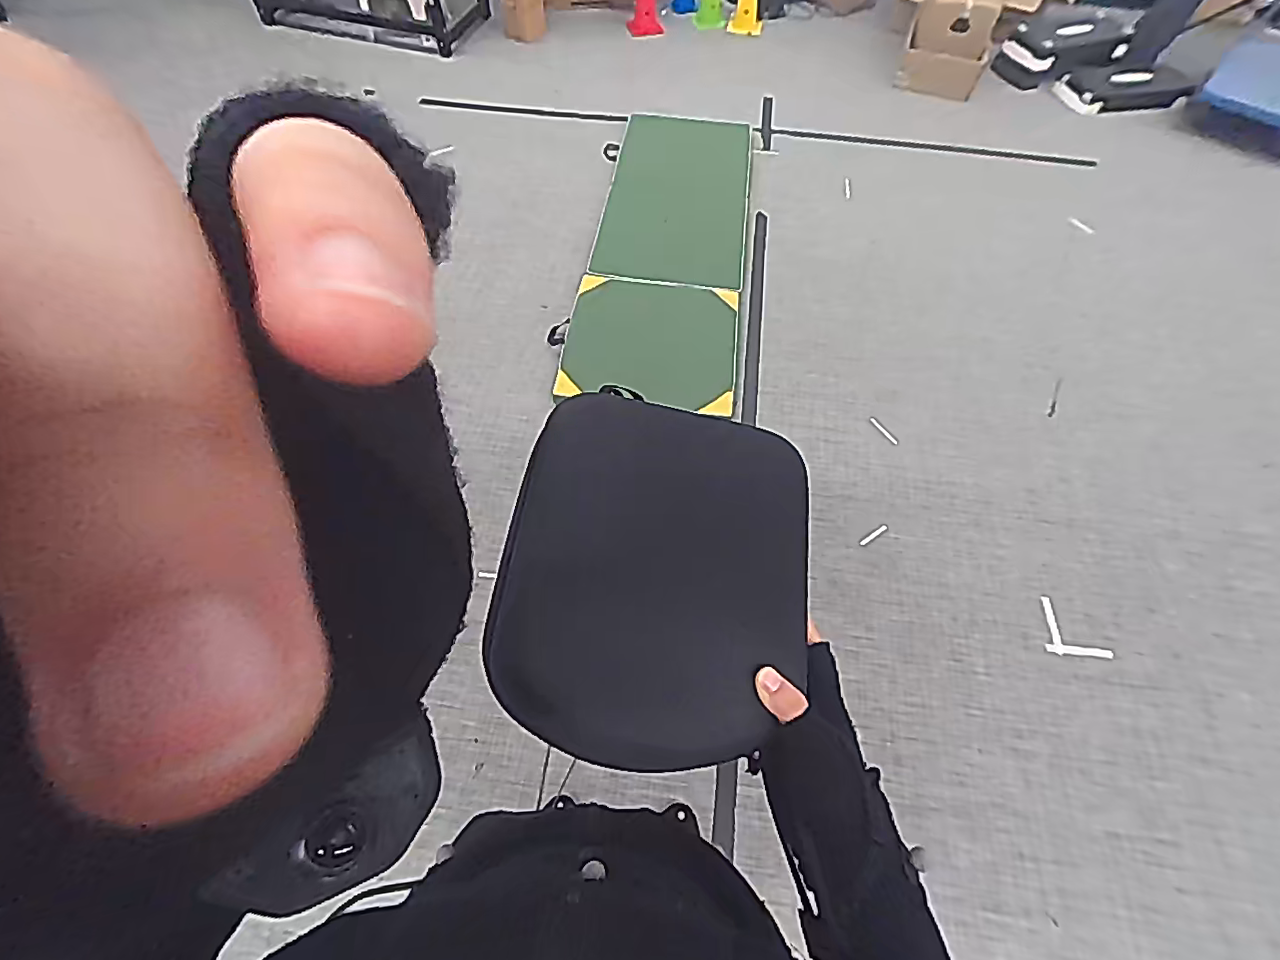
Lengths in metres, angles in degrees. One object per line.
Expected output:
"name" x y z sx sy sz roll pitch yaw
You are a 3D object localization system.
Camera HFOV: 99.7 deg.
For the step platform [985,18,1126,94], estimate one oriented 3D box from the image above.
"step platform" 2.313 -2.367 3.010 0.684 0.204 0.286 -19 63 -11
